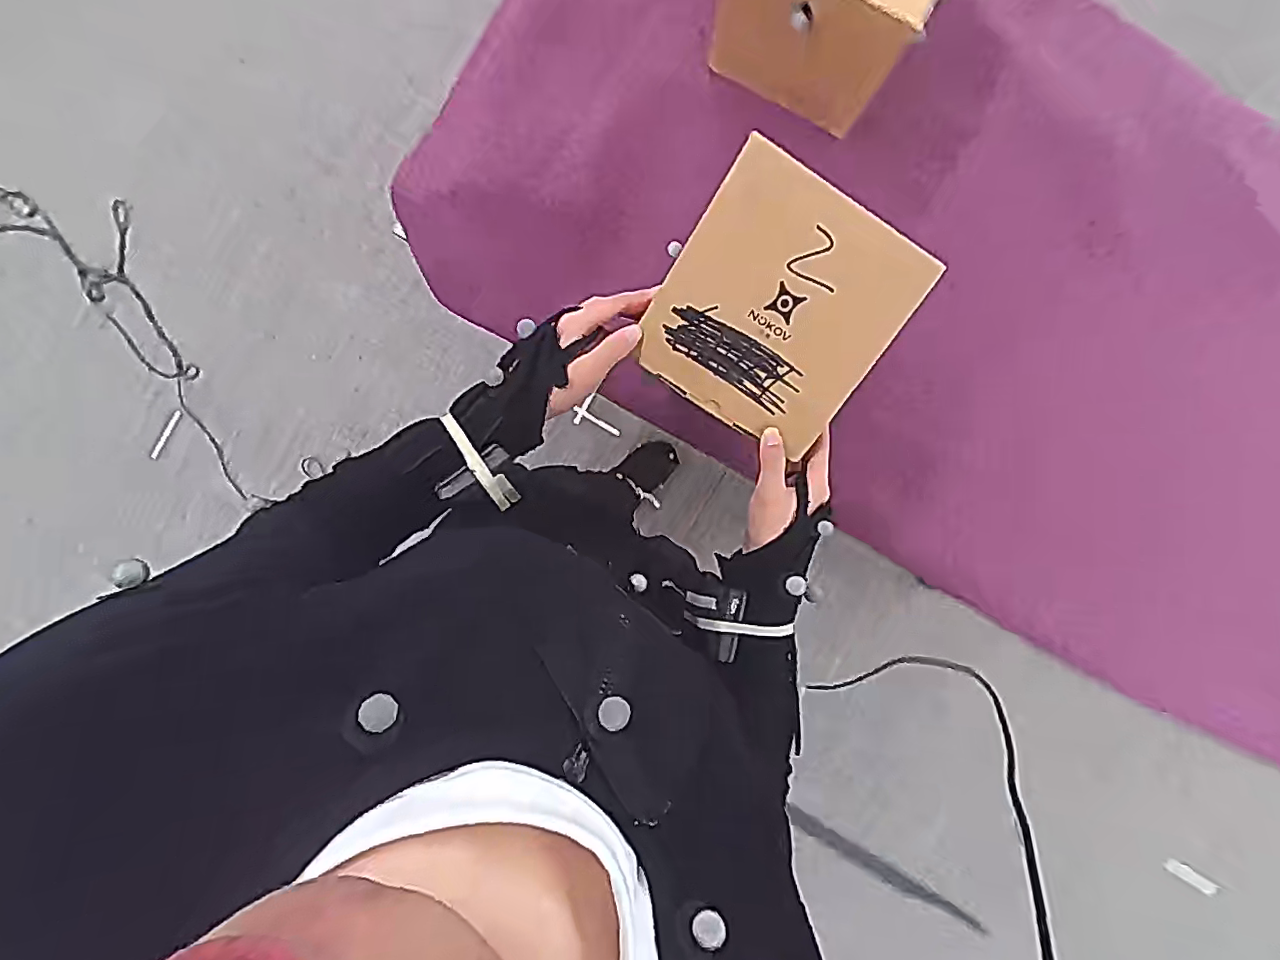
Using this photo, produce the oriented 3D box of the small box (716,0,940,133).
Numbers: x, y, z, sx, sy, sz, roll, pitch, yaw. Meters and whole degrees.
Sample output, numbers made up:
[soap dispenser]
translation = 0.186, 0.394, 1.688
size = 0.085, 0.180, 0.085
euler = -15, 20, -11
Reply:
[small box]
translation = 0.195, -0.487, 0.531
size = 0.179, 0.176, 0.168
euler = 28, 93, -2
